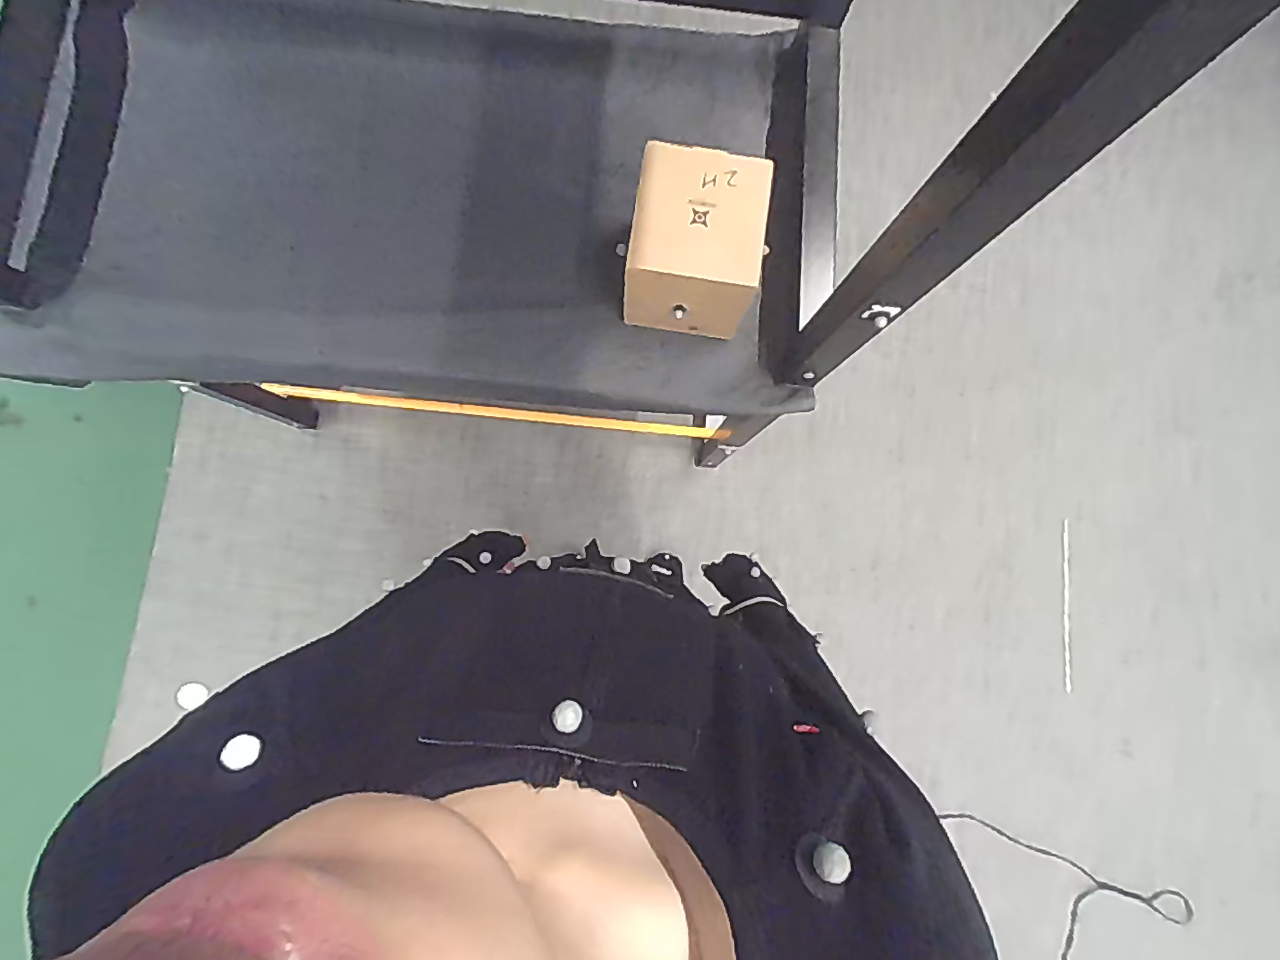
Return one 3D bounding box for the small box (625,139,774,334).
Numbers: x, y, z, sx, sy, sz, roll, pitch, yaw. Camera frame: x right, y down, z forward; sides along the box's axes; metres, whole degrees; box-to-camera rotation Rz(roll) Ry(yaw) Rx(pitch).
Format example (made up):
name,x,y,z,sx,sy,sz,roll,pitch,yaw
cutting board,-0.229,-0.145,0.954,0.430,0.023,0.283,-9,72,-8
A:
name,x,y,z,sx,sy,sz,roll,pitch,yaw
small box,0.073,-0.322,0.749,0.168,0.176,0.179,9,82,-2
